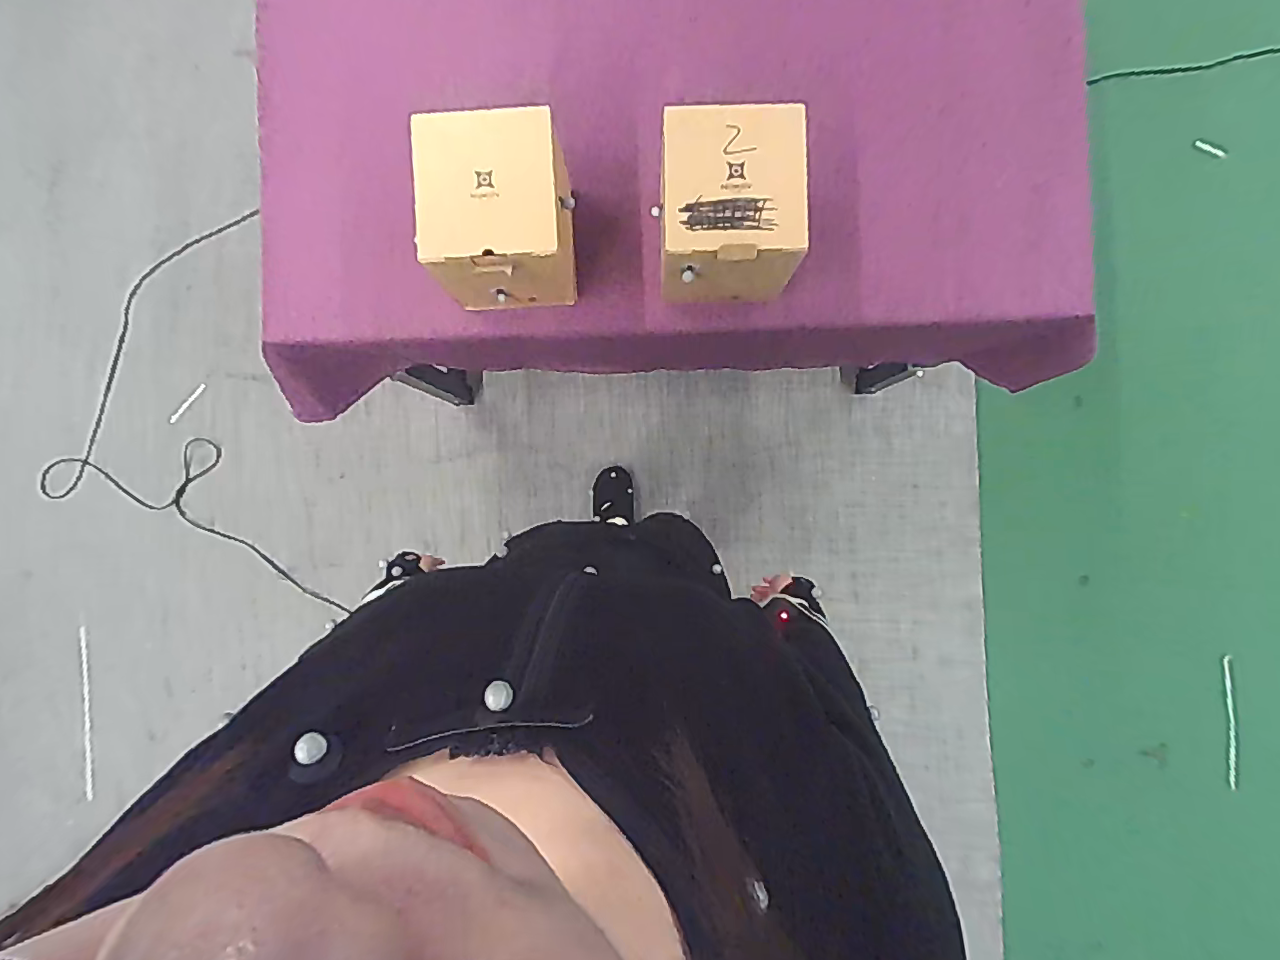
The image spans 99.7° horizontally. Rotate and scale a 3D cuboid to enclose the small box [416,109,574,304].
[{"bbox_3d":[-0.181,-0.351,0.721,0.168,0.176,0.179,-3,90,0],"label":"small box"}]
